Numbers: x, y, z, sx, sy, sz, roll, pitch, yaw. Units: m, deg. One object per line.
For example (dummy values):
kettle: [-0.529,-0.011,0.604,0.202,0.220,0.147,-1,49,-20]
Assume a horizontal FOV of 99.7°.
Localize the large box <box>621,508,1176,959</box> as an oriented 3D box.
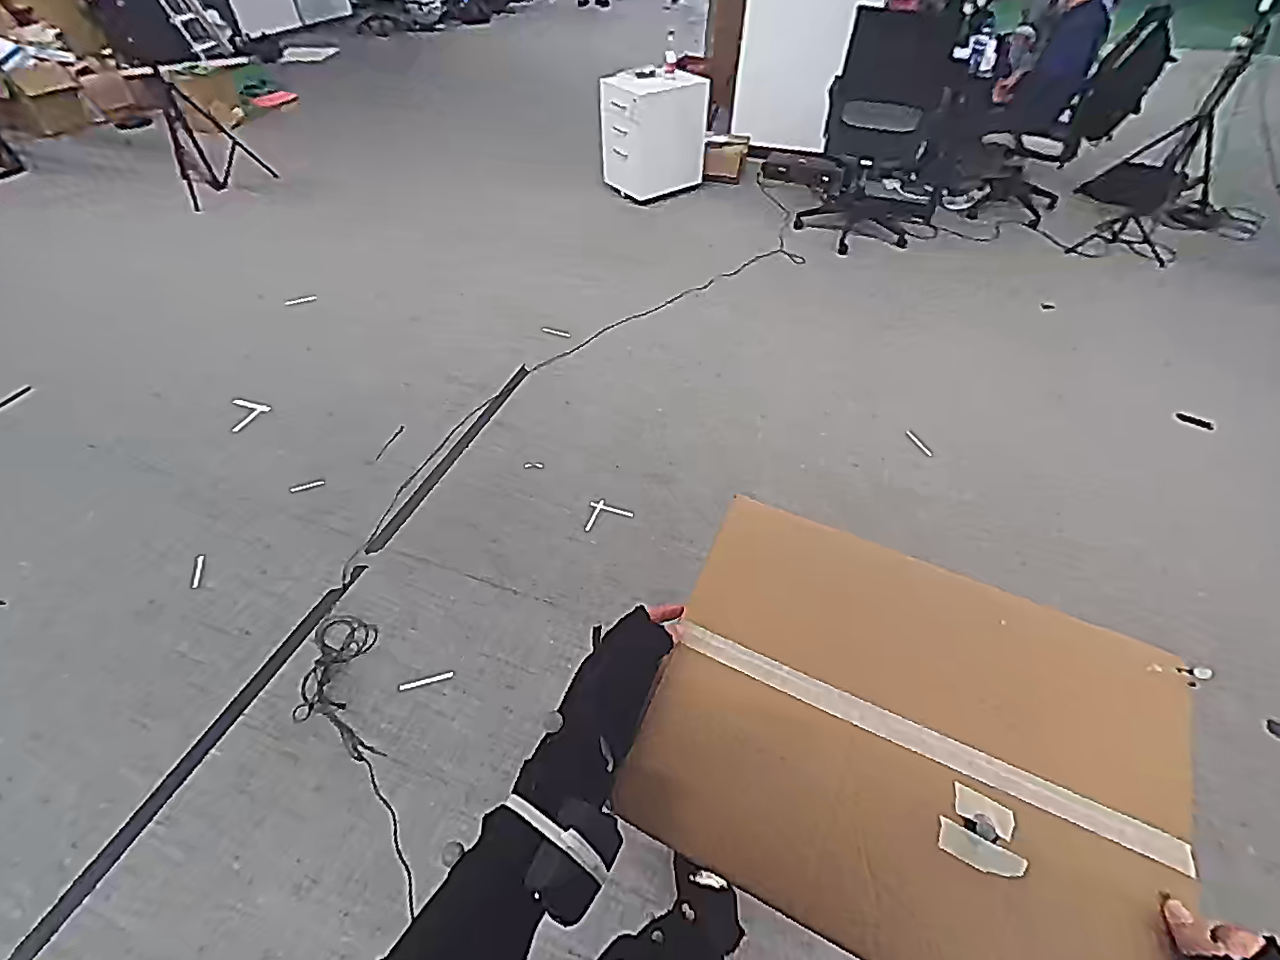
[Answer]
large box: [0.232,0.288,0.590,0.408,0.320,0.320,21,64,16]
